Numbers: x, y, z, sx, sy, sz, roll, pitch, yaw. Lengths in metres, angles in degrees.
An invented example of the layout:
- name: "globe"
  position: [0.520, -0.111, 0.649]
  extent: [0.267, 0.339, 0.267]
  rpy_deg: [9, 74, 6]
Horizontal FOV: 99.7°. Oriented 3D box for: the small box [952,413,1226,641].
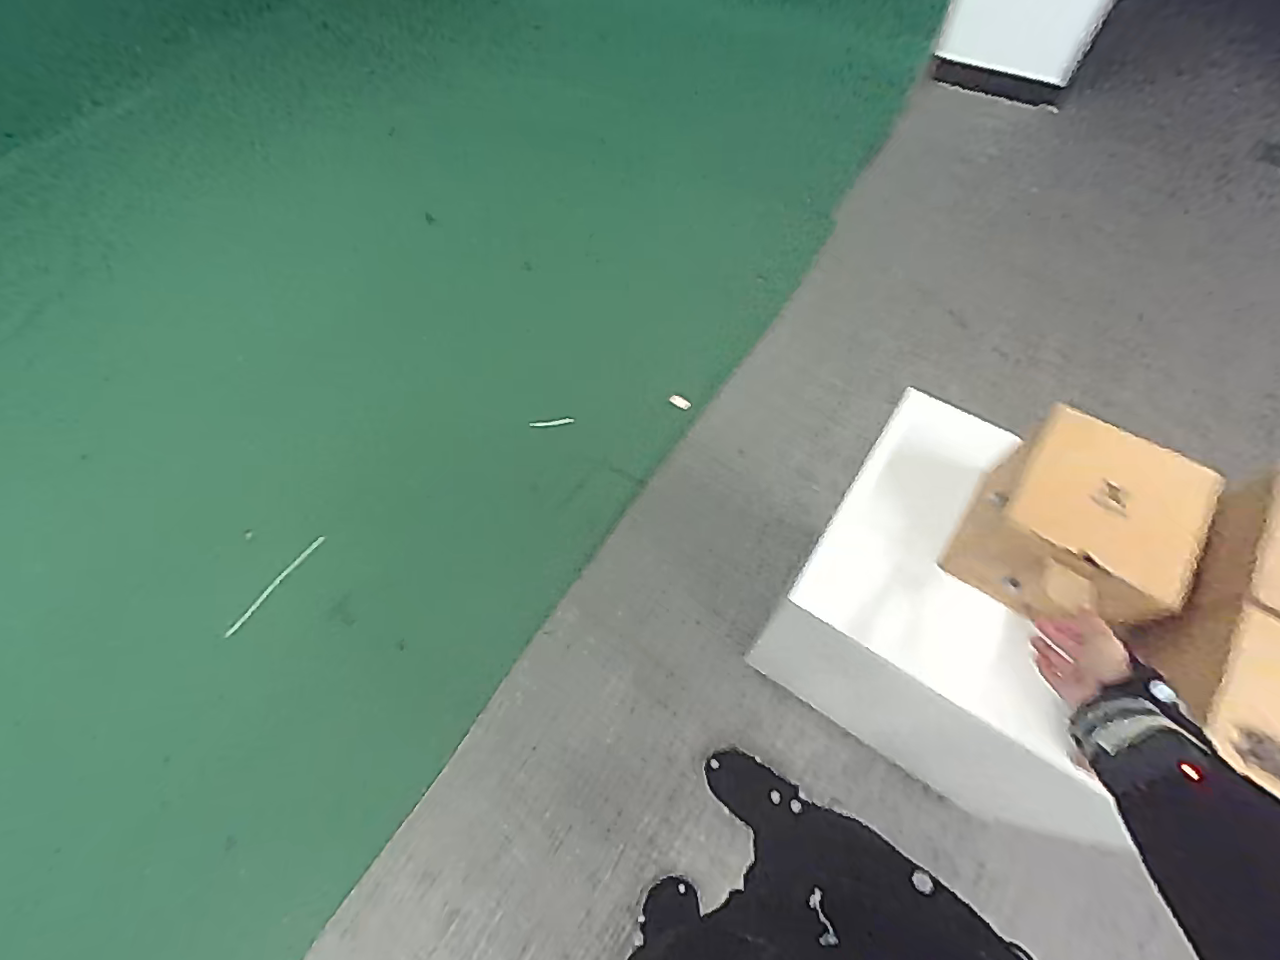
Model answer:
- name: "small box"
  position: [0.506, 0.061, 0.636]
  extent: [0.168, 0.176, 0.179]
  rpy_deg: [32, 70, 19]
